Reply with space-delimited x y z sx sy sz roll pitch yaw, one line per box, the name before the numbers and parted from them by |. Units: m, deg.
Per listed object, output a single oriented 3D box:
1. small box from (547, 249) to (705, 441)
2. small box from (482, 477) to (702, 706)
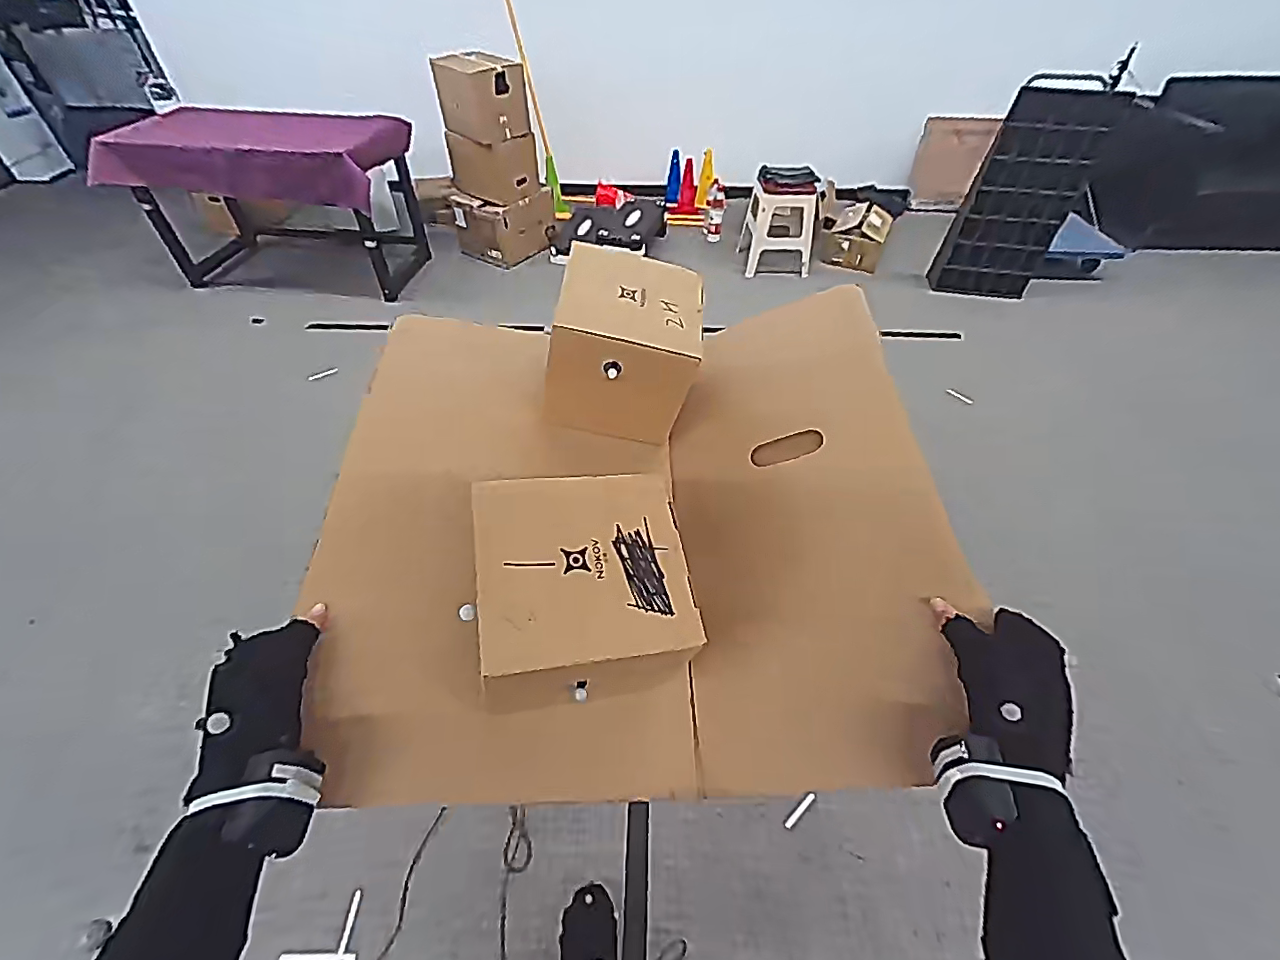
small box | -0.022 -0.173 0.728 0.179 0.176 0.168 12 55 -8
small box | -0.061 0.110 0.528 0.179 0.176 0.168 -2 58 -16
